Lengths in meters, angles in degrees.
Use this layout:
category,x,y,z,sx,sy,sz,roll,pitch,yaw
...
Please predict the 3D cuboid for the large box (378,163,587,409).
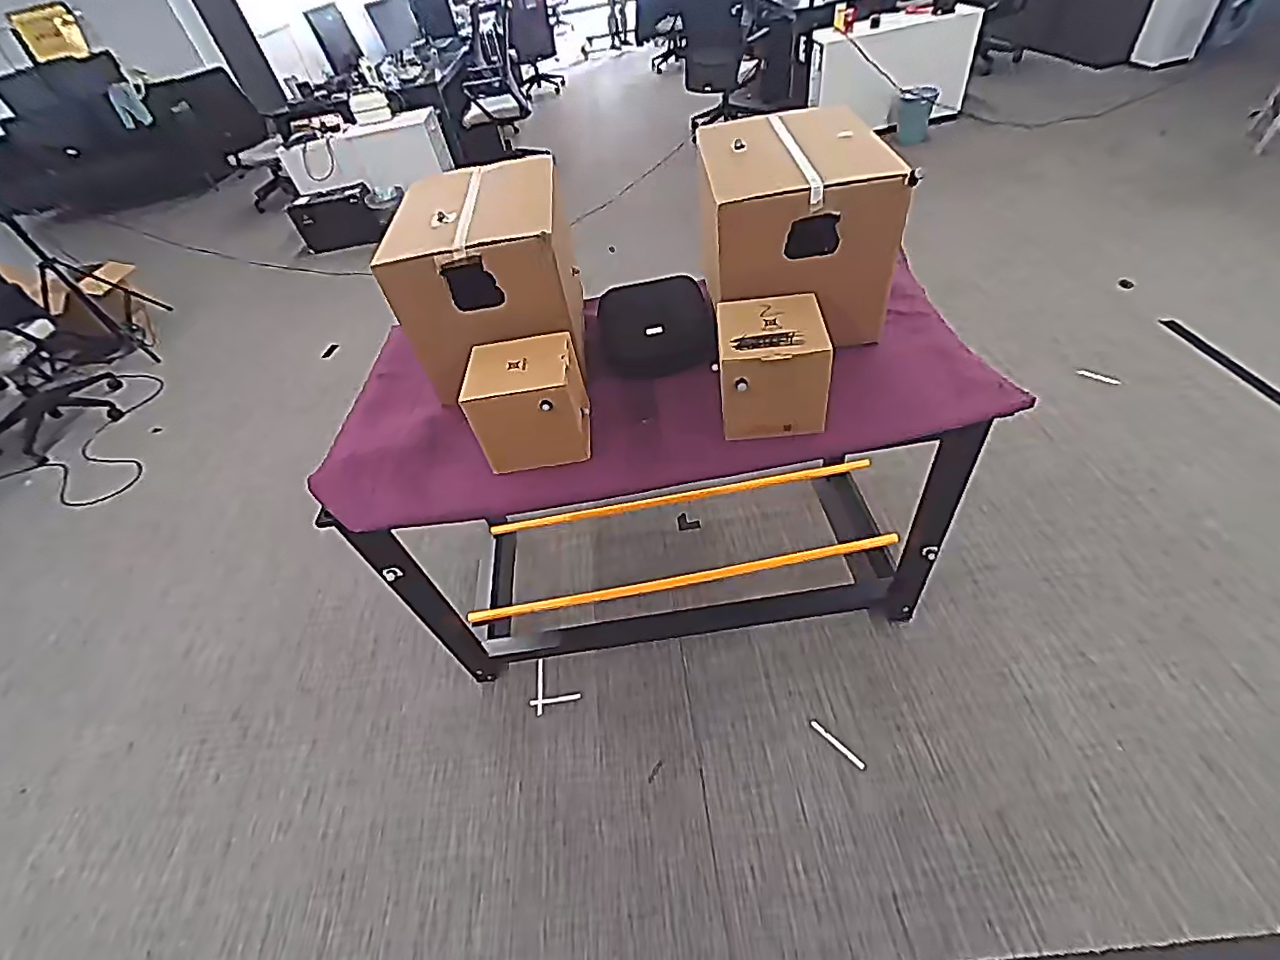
category,x,y,z,sx,sy,sz,roll,pitch,yaw
large box,-0.300,-0.413,1.146,0.320,0.320,0.408,-11,49,2
